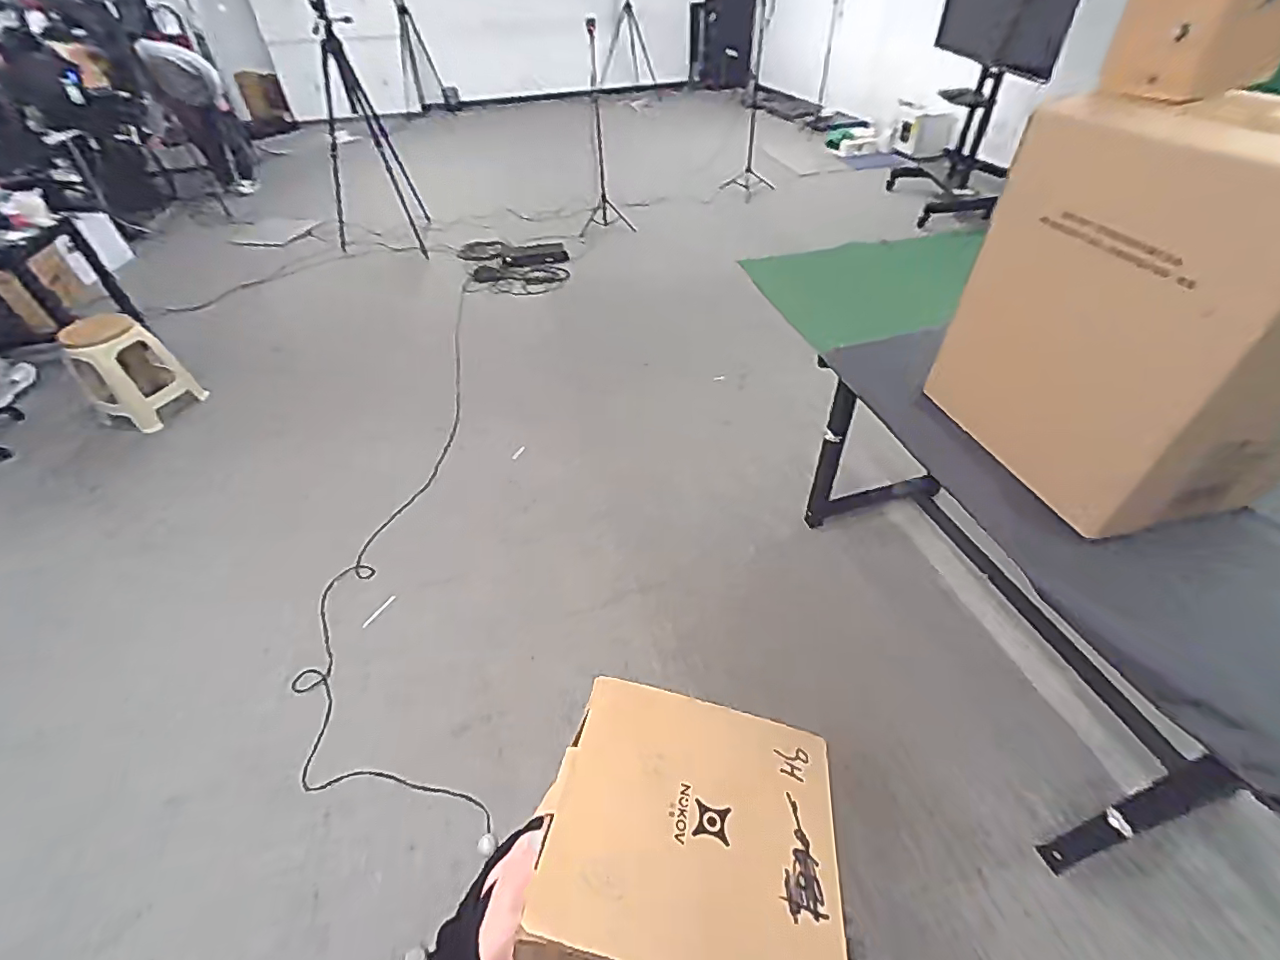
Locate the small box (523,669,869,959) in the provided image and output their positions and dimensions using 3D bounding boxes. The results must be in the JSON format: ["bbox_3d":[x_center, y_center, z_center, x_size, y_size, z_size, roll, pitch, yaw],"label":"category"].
[{"bbox_3d":[0.028,0.265,0.363,0.179,0.176,0.168,14,30,4],"label":"small box"}]

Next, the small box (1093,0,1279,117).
[{"bbox_3d":[0.915,-0.727,0.904,0.179,0.176,0.168,-15,44,-8],"label":"small box"}]
